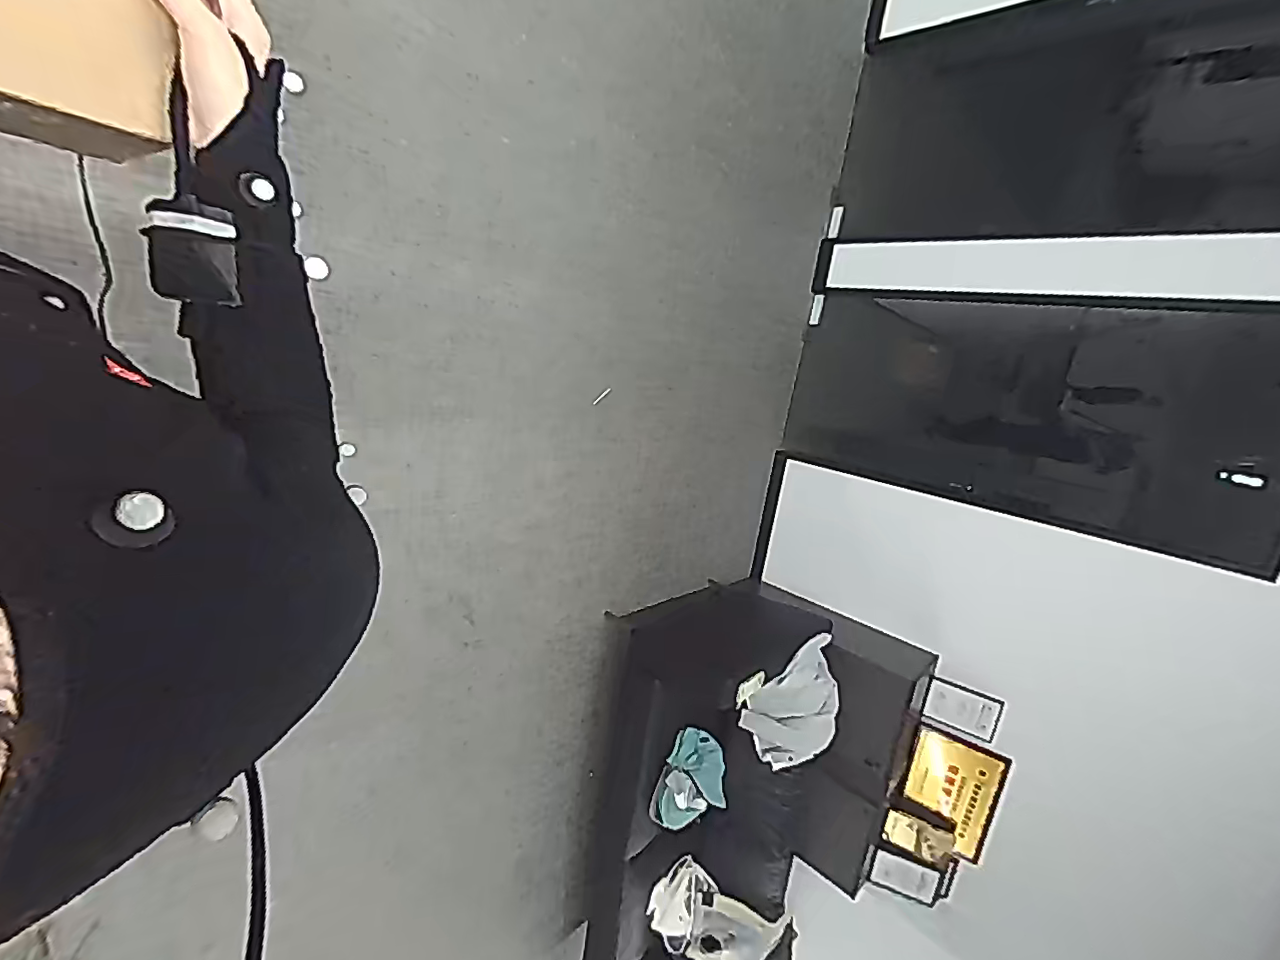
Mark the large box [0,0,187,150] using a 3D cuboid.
[{"bbox_3d":[-0.528,-0.414,0.275,0.408,0.320,0.320,-7,115,-50],"label":"large box"}]
